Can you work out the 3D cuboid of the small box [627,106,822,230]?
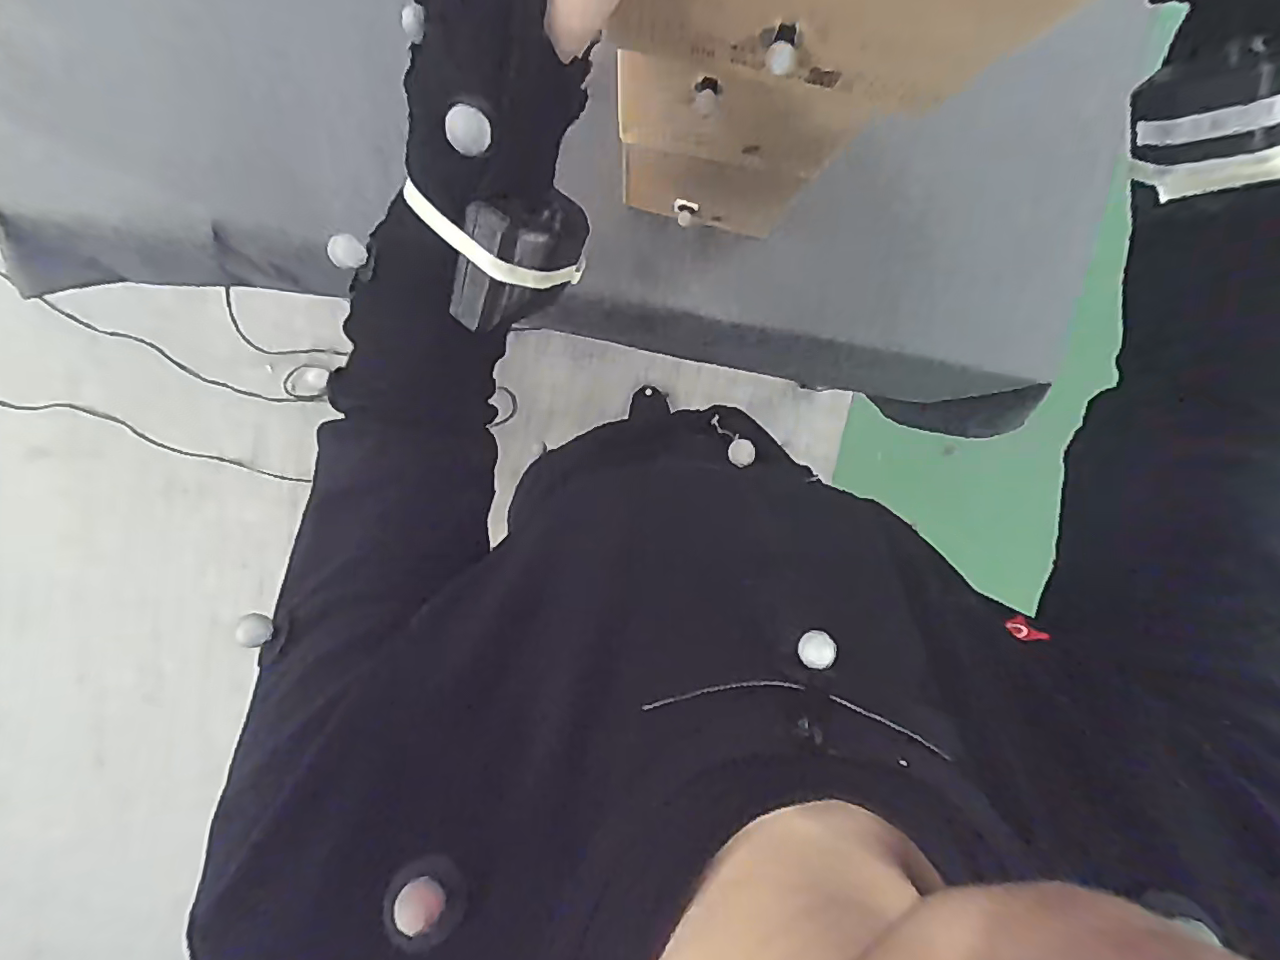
[{"bbox_3d":[0.082,-0.363,0.505,0.168,0.176,0.179,11,98,-2],"label":"small box"}]
